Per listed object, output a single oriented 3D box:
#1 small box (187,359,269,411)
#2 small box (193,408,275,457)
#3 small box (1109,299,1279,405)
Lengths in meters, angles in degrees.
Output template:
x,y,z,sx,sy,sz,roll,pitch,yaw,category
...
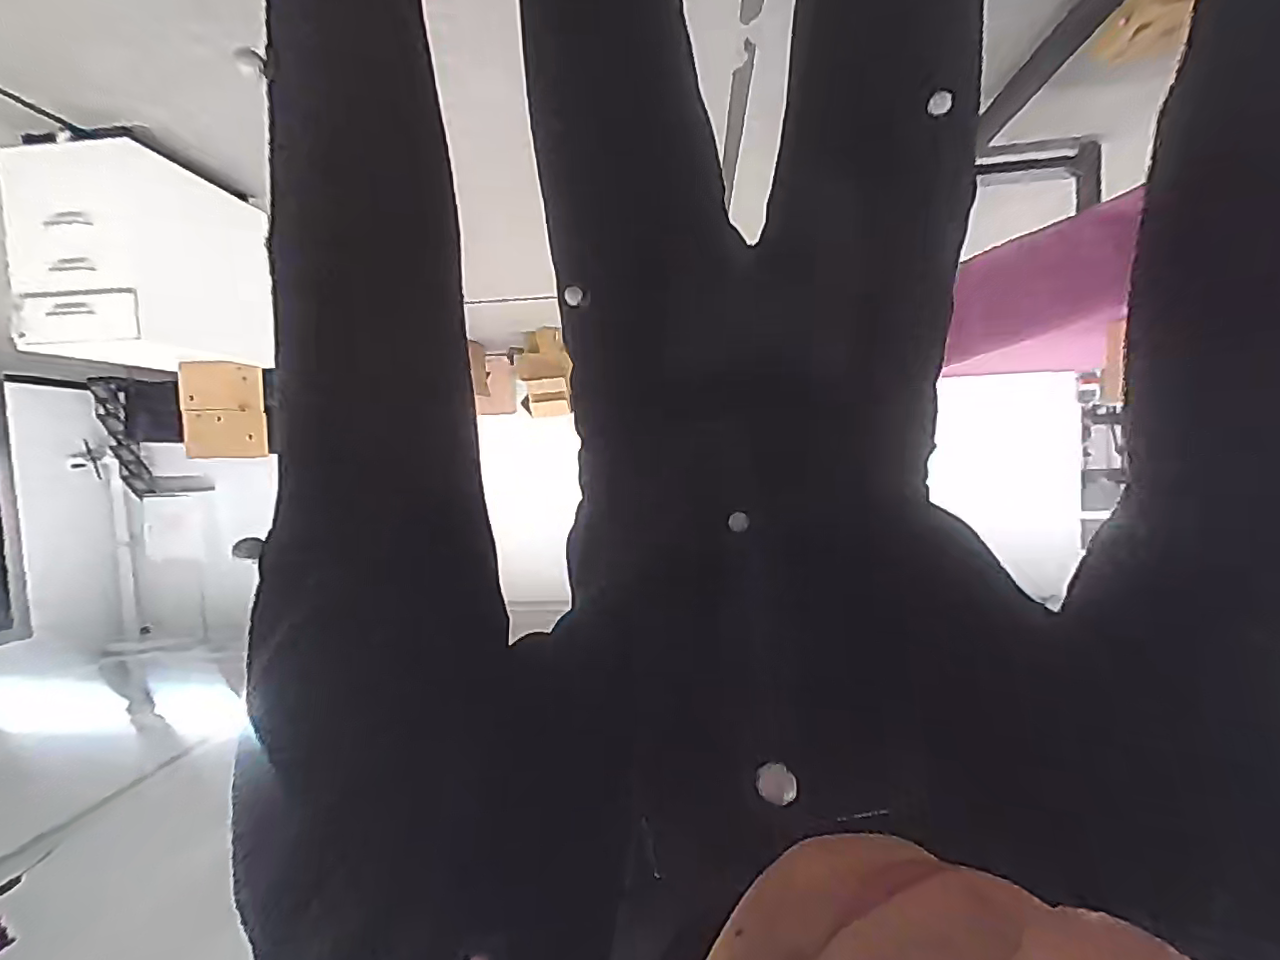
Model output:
x,y,z,sx,sy,sz,roll,pitch,yaw,category
-1.468,-0.336,1.929,0.179,0.176,0.168,-1,-176,6,small box
-1.457,-0.171,1.942,0.168,0.176,0.179,-1,-175,6,small box
1.036,-0.234,1.014,0.179,0.176,0.168,-2,-176,6,small box
